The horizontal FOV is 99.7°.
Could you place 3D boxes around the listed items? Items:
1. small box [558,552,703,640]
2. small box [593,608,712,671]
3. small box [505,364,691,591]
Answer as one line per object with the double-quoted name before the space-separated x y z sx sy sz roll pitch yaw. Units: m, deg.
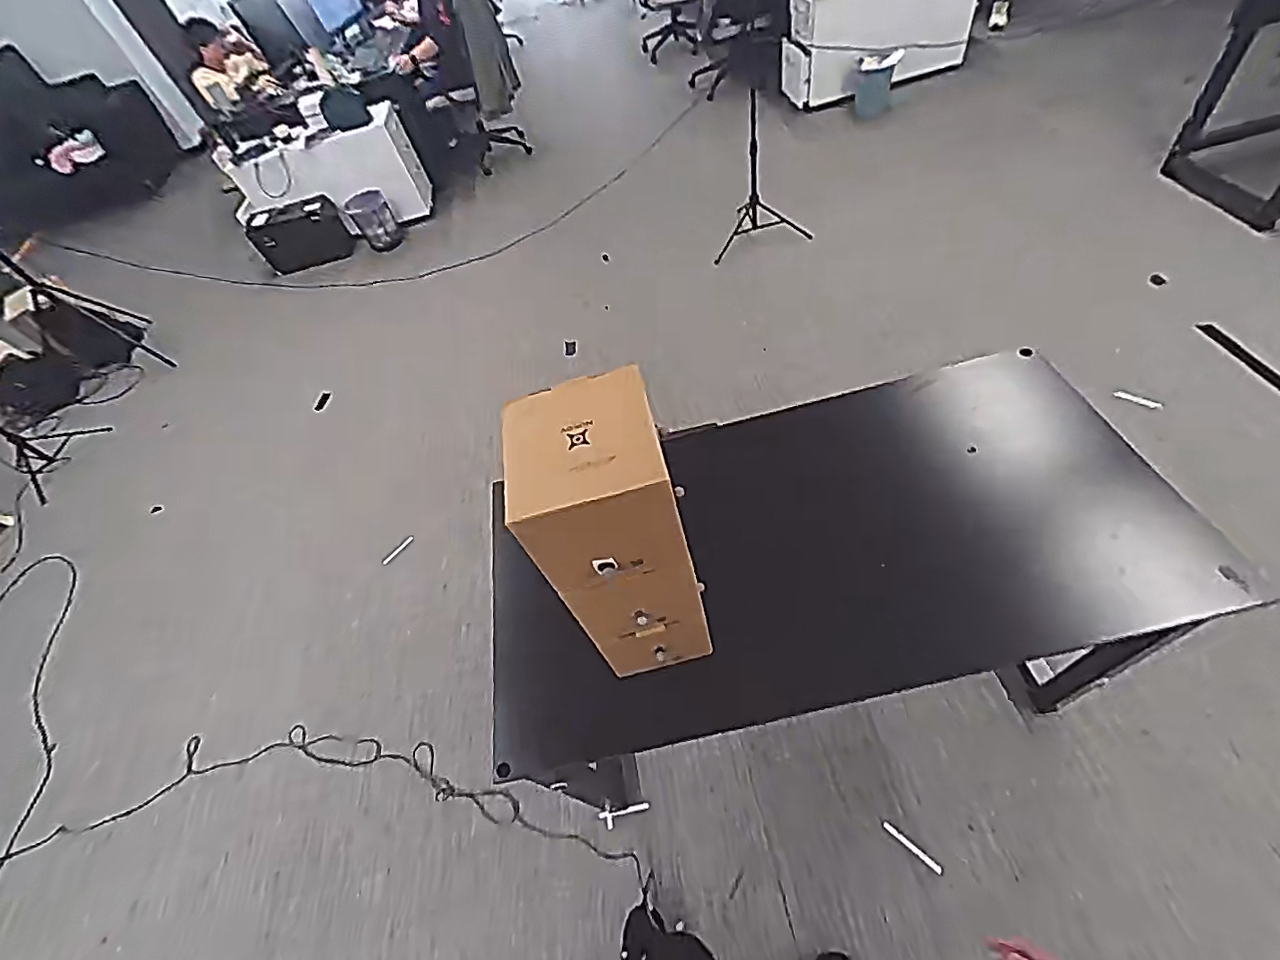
"small box" -0.017 0.097 0.753 0.168 0.176 0.179 -15 52 3
"small box" 0.014 0.196 0.882 0.168 0.176 0.179 -15 52 2
"small box" -0.046 0.001 0.624 0.168 0.176 0.179 -16 52 3
